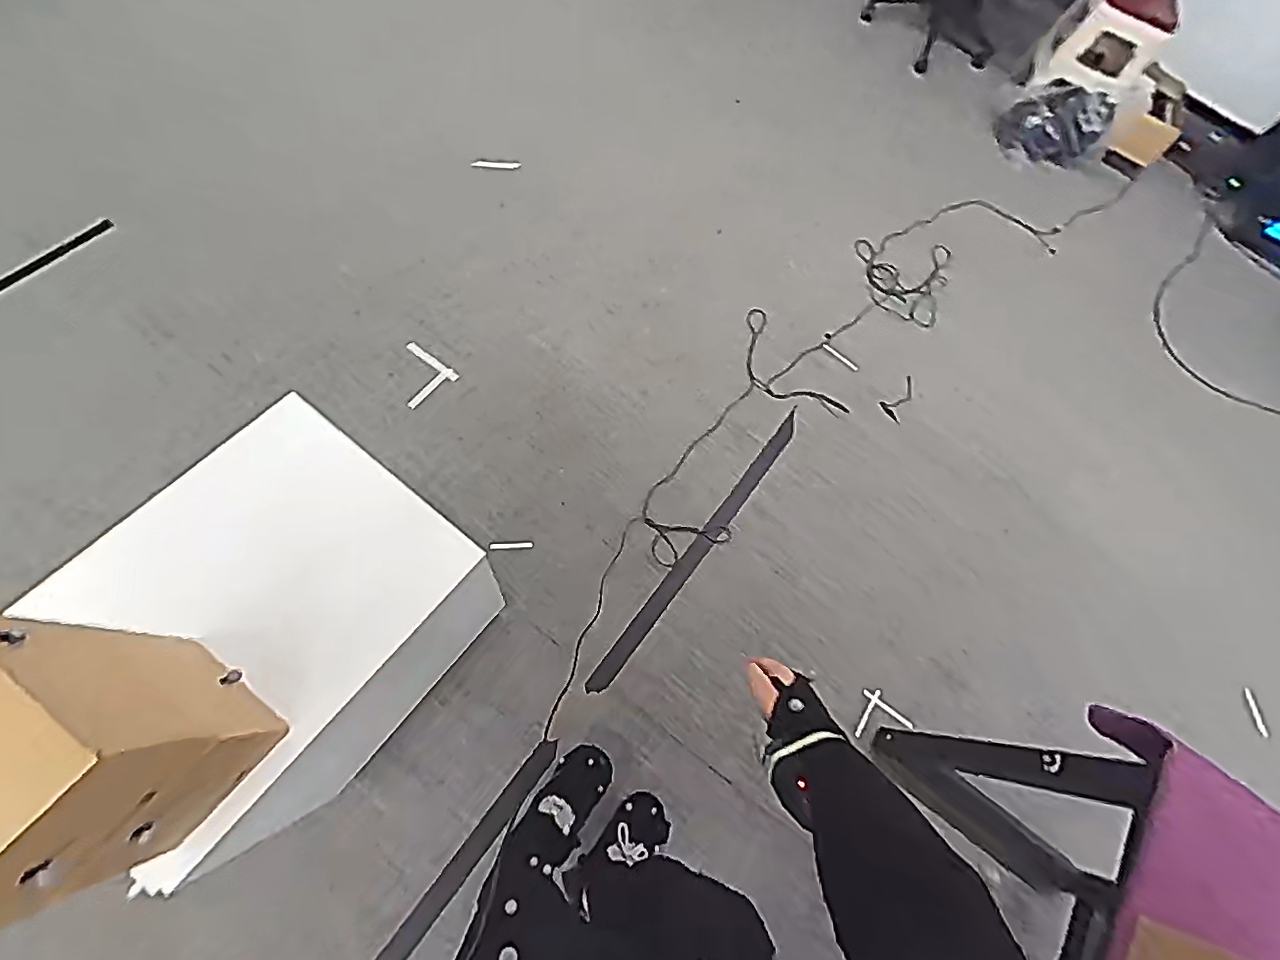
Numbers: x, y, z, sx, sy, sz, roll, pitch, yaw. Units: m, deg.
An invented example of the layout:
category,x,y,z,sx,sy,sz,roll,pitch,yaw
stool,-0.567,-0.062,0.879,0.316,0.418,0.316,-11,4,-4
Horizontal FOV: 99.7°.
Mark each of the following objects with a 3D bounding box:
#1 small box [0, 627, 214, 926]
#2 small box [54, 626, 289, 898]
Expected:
category,x,y,z,sx,sy,sz,roll,pitch,yaw
small box,-0.503,0.230,0.429,0.179,0.176,0.168,37,68,5
small box,-0.533,0.286,0.580,0.179,0.176,0.168,38,67,6
